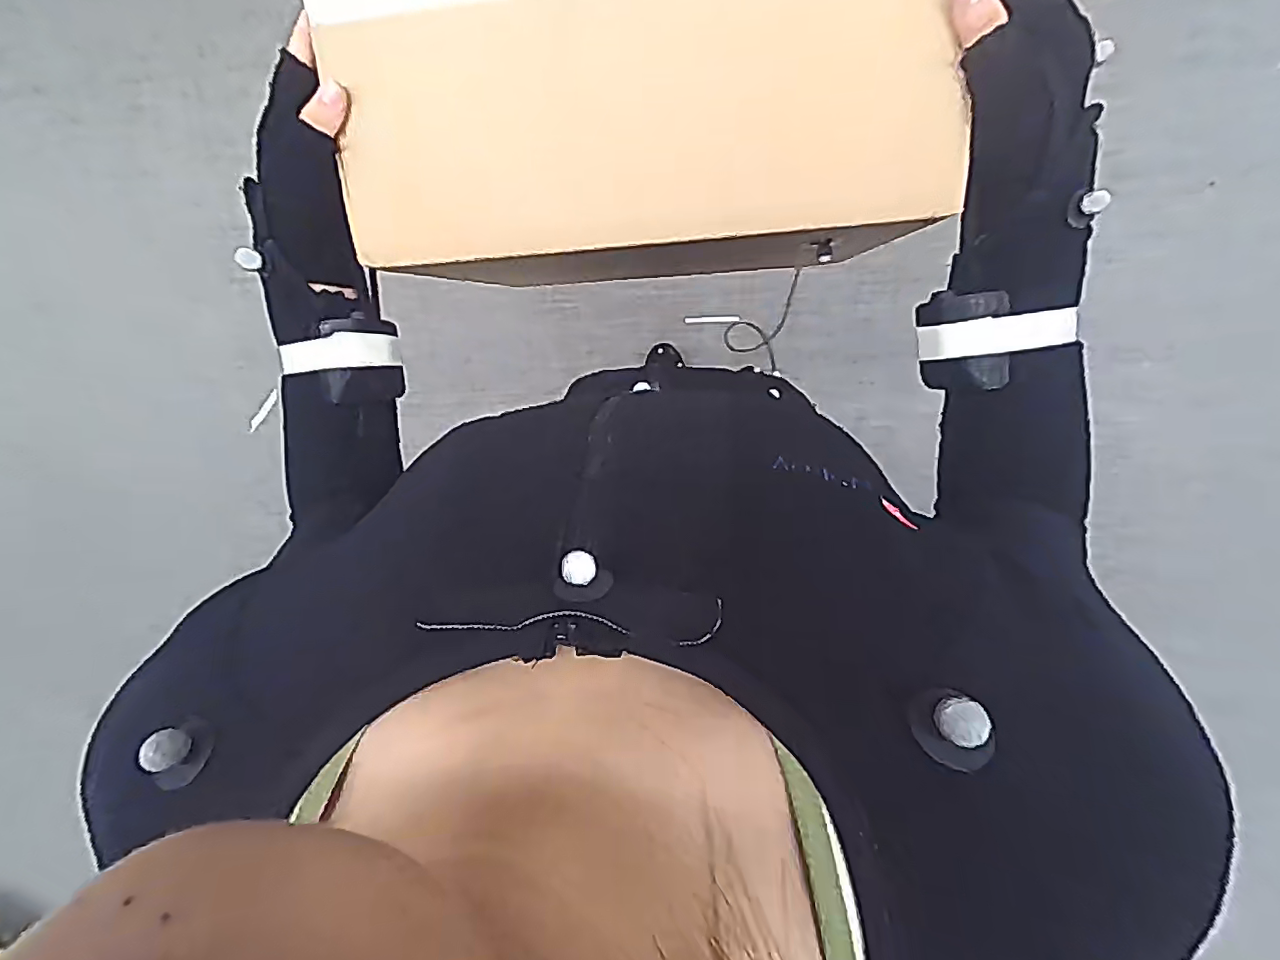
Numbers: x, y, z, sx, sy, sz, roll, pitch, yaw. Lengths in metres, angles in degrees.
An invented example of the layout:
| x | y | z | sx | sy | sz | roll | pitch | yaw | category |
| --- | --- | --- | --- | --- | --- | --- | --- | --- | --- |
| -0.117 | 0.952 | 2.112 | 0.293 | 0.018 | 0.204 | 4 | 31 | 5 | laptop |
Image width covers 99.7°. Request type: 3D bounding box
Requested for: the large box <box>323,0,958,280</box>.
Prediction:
| x | y | z | sx | sy | sz | roll | pitch | yaw | category |
| --- | --- | --- | --- | --- | --- | --- | --- | --- | --- |
| 0.008 | -0.358 | 0.471 | 0.408 | 0.320 | 0.320 | -2 | 107 | 8 | large box |
